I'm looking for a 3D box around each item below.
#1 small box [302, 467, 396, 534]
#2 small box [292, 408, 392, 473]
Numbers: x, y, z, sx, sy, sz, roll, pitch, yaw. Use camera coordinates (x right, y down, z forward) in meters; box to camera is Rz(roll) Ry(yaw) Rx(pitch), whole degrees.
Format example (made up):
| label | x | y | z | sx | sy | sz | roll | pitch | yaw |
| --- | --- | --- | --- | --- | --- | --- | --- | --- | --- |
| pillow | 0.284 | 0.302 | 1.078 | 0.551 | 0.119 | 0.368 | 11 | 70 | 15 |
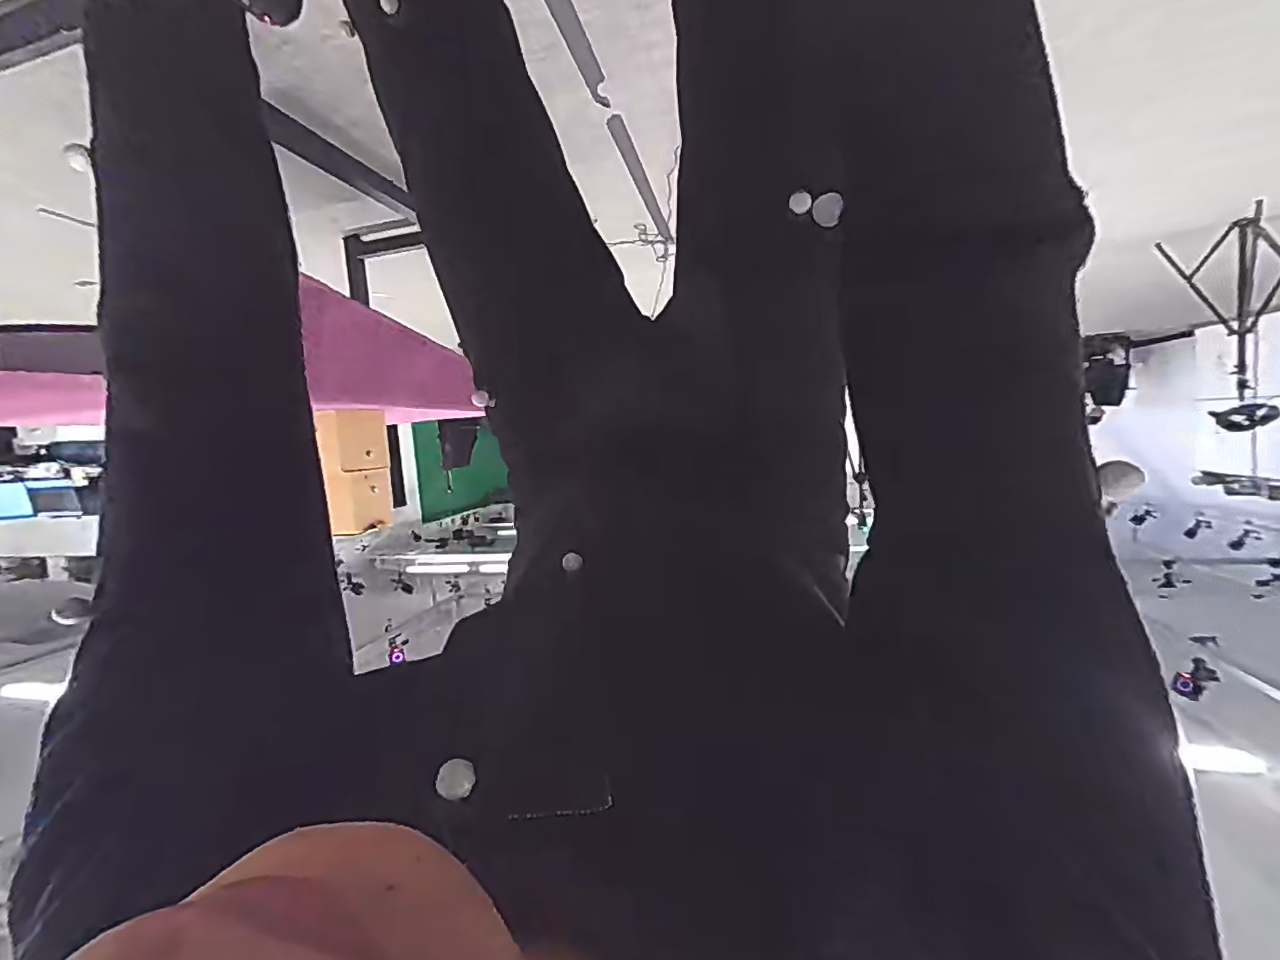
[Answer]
| label | x | y | z | sx | sy | sz | roll | pitch | yaw |
| --- | --- | --- | --- | --- | --- | --- | --- | --- | --- |
| small box | -0.813 | 0.052 | 1.512 | 0.179 | 0.176 | 0.168 | -3 | -174 | 12 |
| small box | -0.821 | -0.112 | 1.496 | 0.168 | 0.176 | 0.179 | -3 | -175 | 18 |
